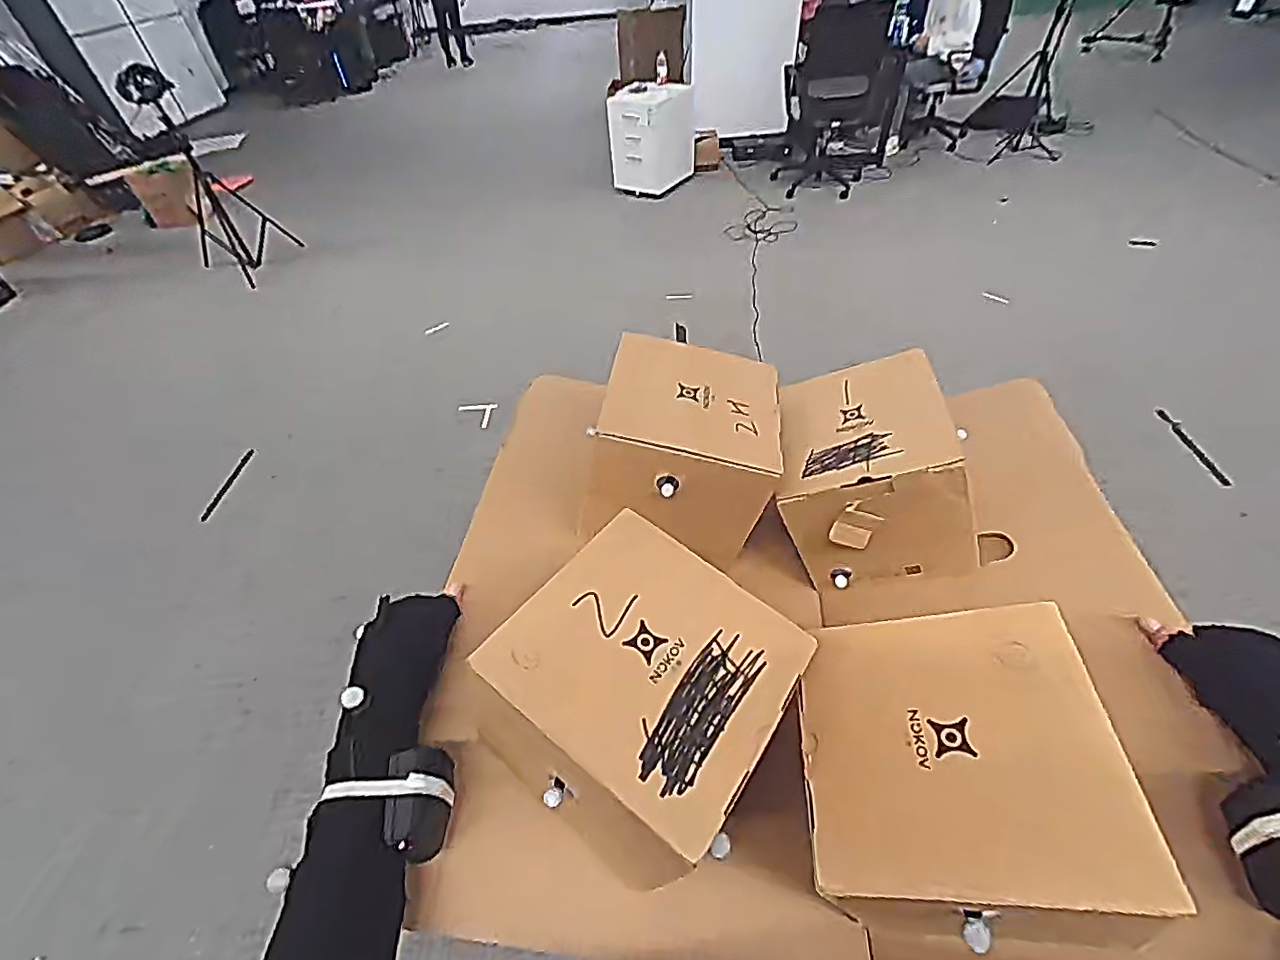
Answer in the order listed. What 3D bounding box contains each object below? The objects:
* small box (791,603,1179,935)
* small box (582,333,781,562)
[{"bbox_3d":[0.223,0.210,0.391,0.179,0.176,0.168,-15,43,24],"label":"small box"},{"bbox_3d":[0.041,-0.030,0.594,0.179,0.176,0.168,14,49,-3],"label":"small box"}]
